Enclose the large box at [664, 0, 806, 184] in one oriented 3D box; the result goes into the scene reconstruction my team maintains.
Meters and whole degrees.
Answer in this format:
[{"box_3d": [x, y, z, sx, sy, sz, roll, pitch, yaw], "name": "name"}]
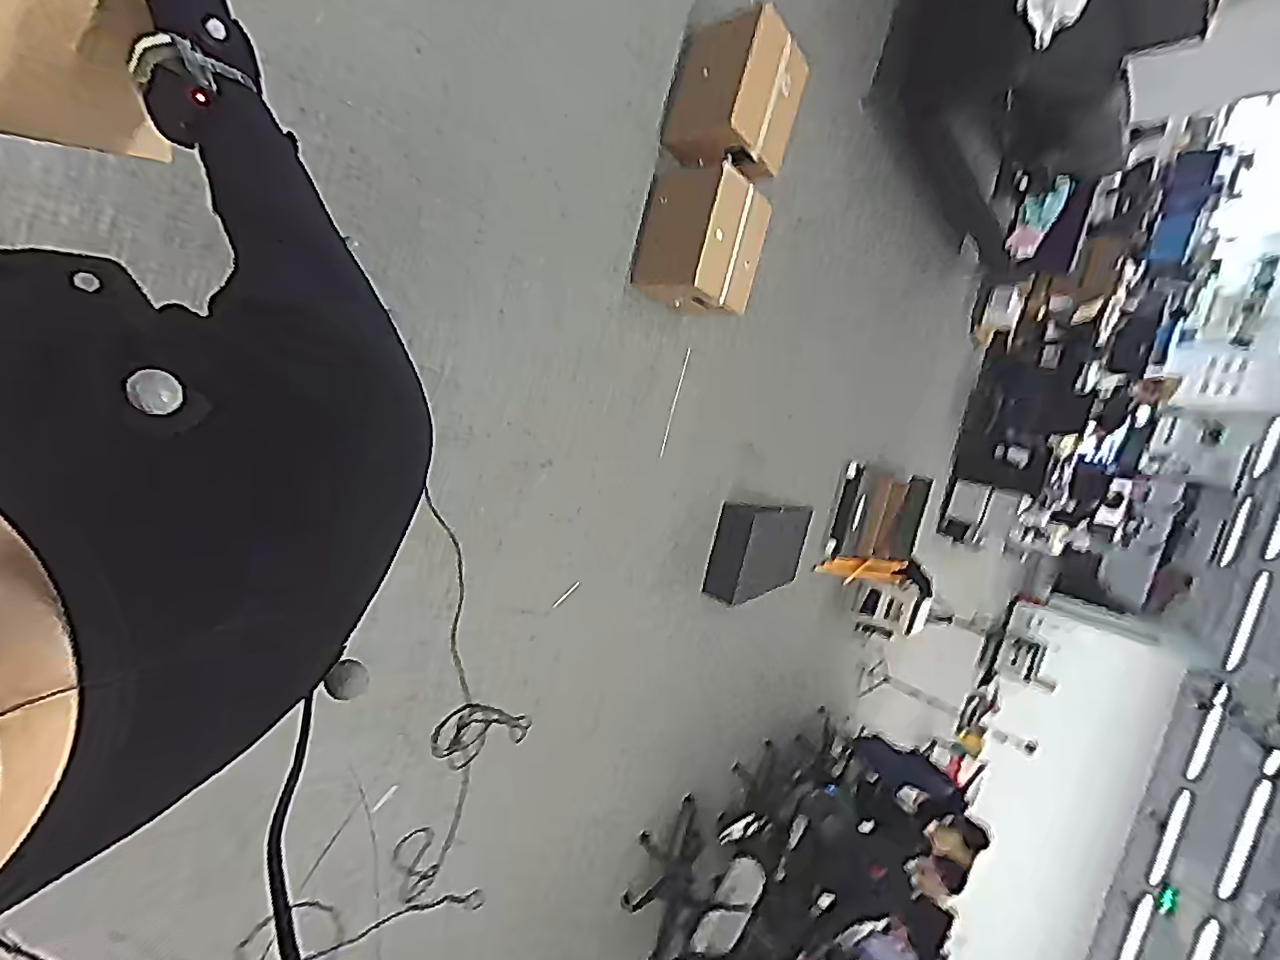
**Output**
[{"box_3d": [0.330, -1.335, 1.897, 0.320, 0.320, 0.408, 14, 93, -48], "name": "large box"}]
